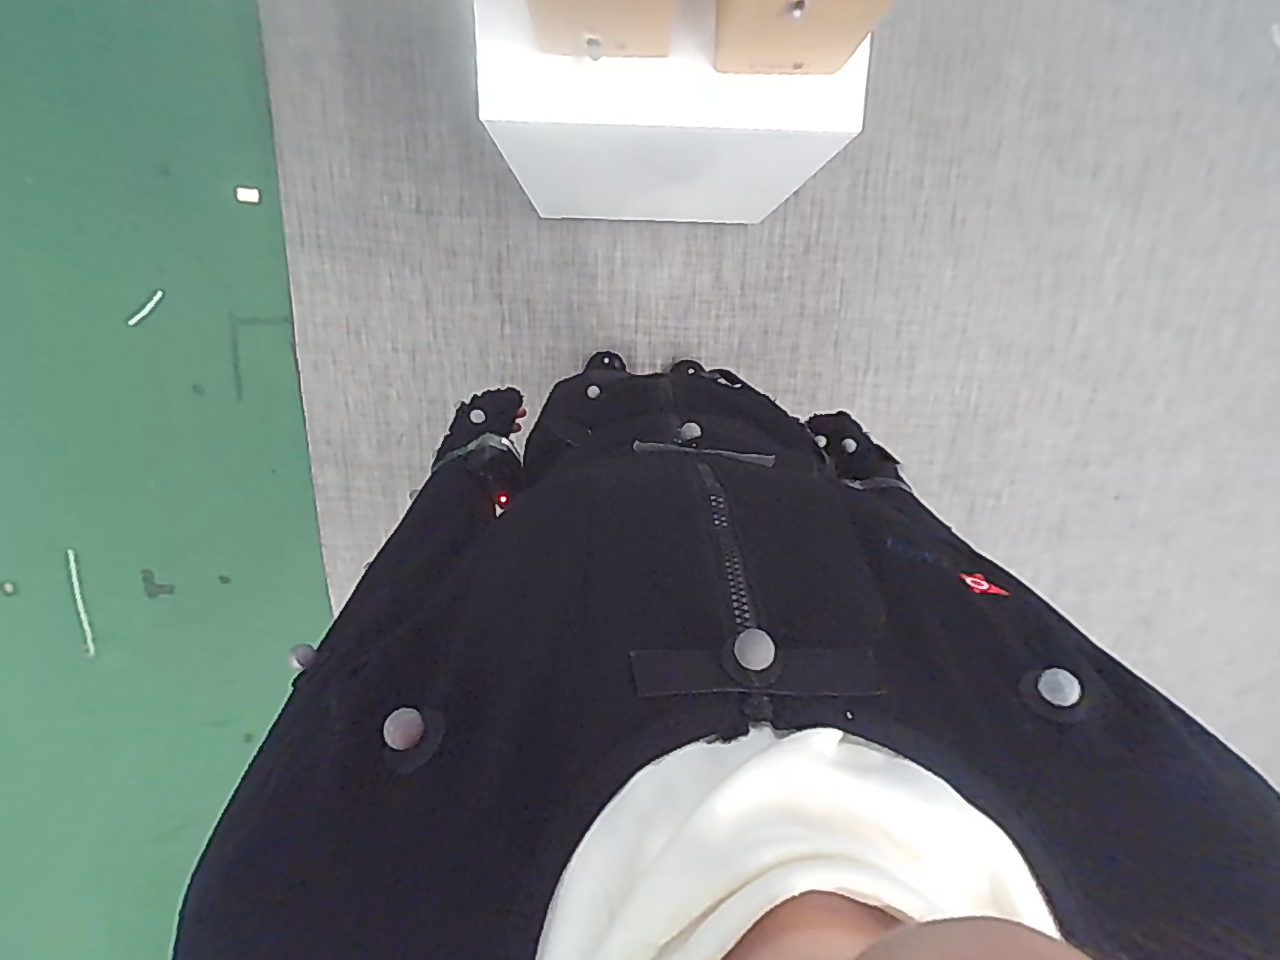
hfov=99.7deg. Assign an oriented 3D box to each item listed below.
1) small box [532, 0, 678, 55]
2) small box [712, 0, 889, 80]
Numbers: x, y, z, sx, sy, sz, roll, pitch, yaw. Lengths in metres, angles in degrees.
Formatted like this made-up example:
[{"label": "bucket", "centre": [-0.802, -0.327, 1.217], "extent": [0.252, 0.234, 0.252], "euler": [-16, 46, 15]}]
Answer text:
[{"label": "small box", "centre": [-0.041, -0.607, 0.587], "extent": [0.168, 0.176, 0.179], "euler": [-1, 105, -1]}, {"label": "small box", "centre": [0.178, -0.596, 0.609], "extent": [0.168, 0.176, 0.179], "euler": [1, 102, -2]}]
